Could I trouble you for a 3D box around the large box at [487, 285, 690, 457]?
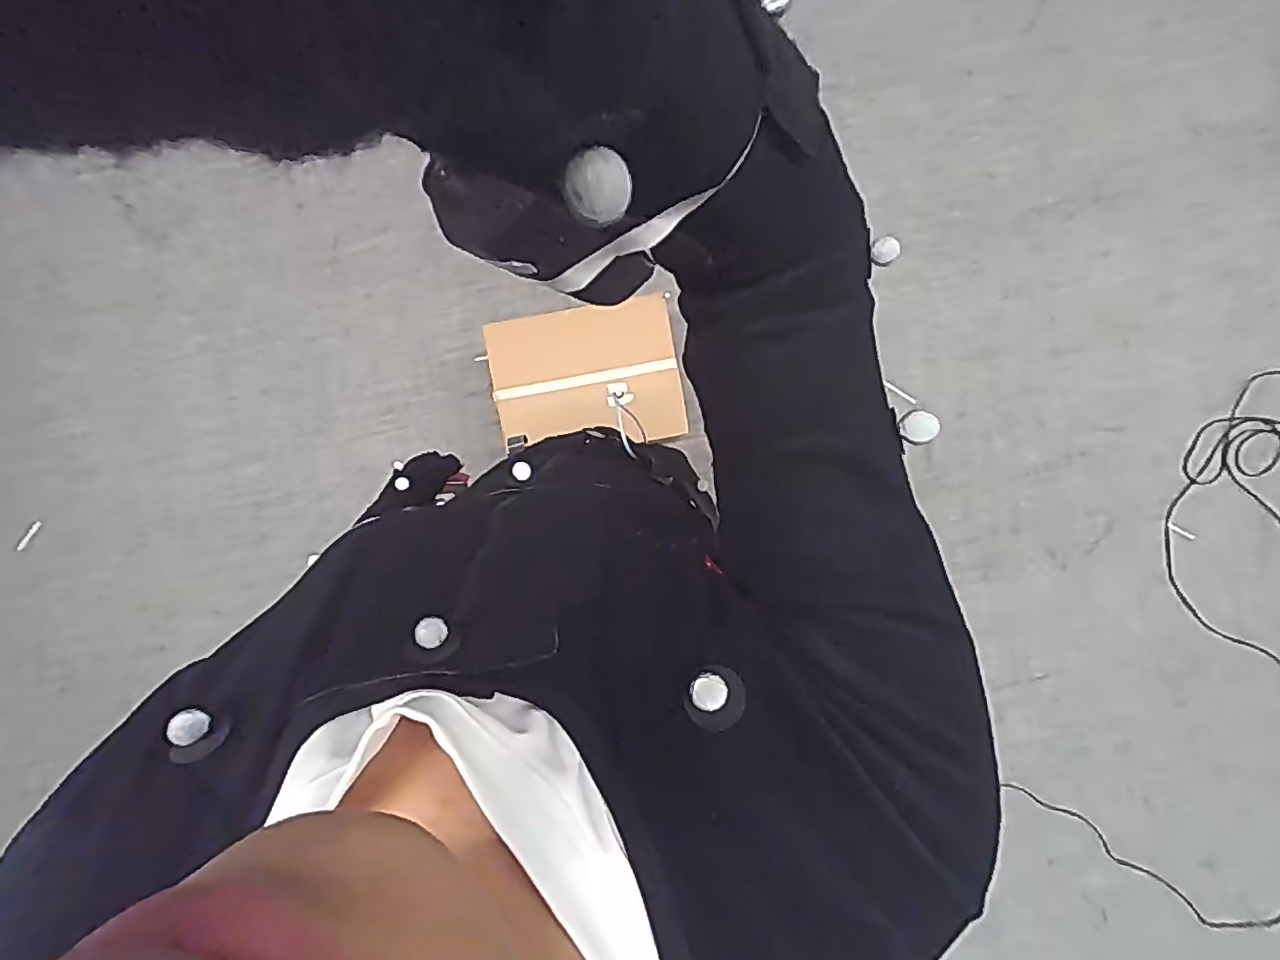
[{"bbox_3d":[-0.112,-0.242,1.323,0.408,0.320,0.320,-10,93,1],"label":"large box"}]
